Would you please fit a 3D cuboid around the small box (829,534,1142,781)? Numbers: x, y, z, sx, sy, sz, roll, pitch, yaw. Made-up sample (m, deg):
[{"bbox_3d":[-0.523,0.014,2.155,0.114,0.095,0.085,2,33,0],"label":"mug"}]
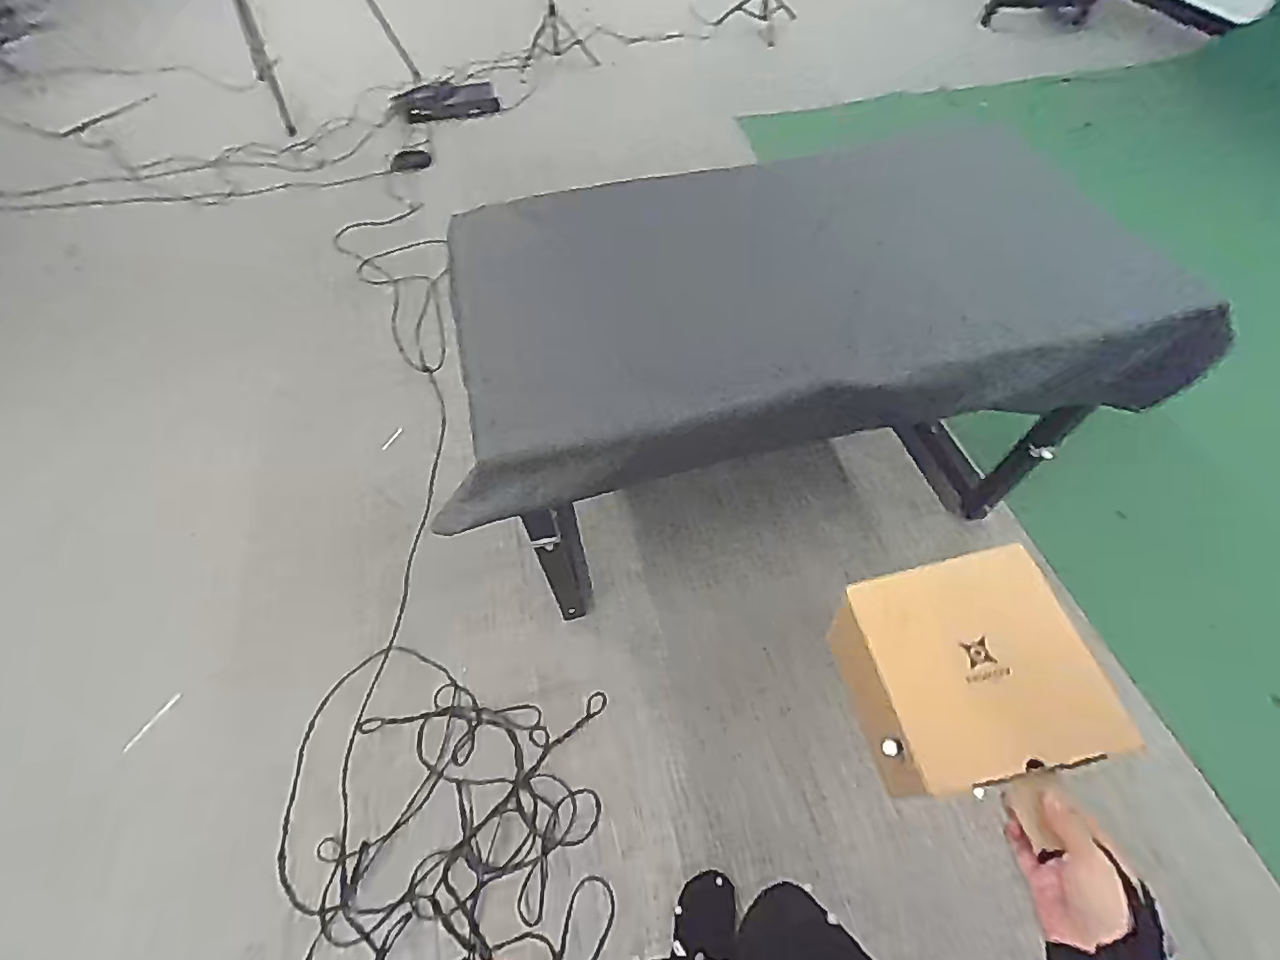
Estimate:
[{"bbox_3d":[0.300,0.179,0.525,0.168,0.176,0.179,-14,60,2],"label":"small box"}]
